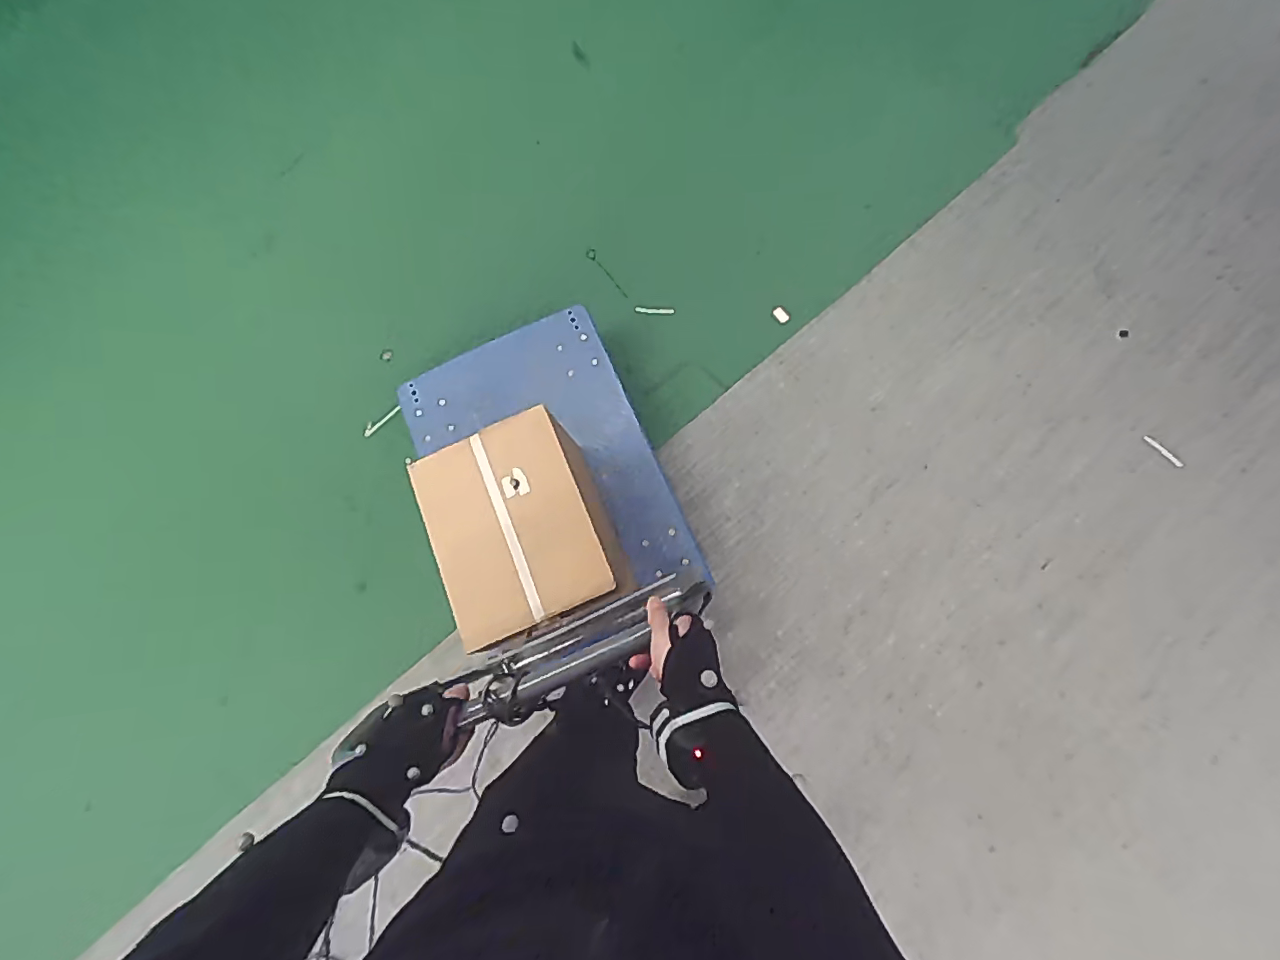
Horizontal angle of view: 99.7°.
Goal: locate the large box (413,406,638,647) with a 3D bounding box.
[{"bbox_3d":[-0.235,0.115,1.203,0.320,0.320,0.408,-24,75,1],"label":"large box"}]
